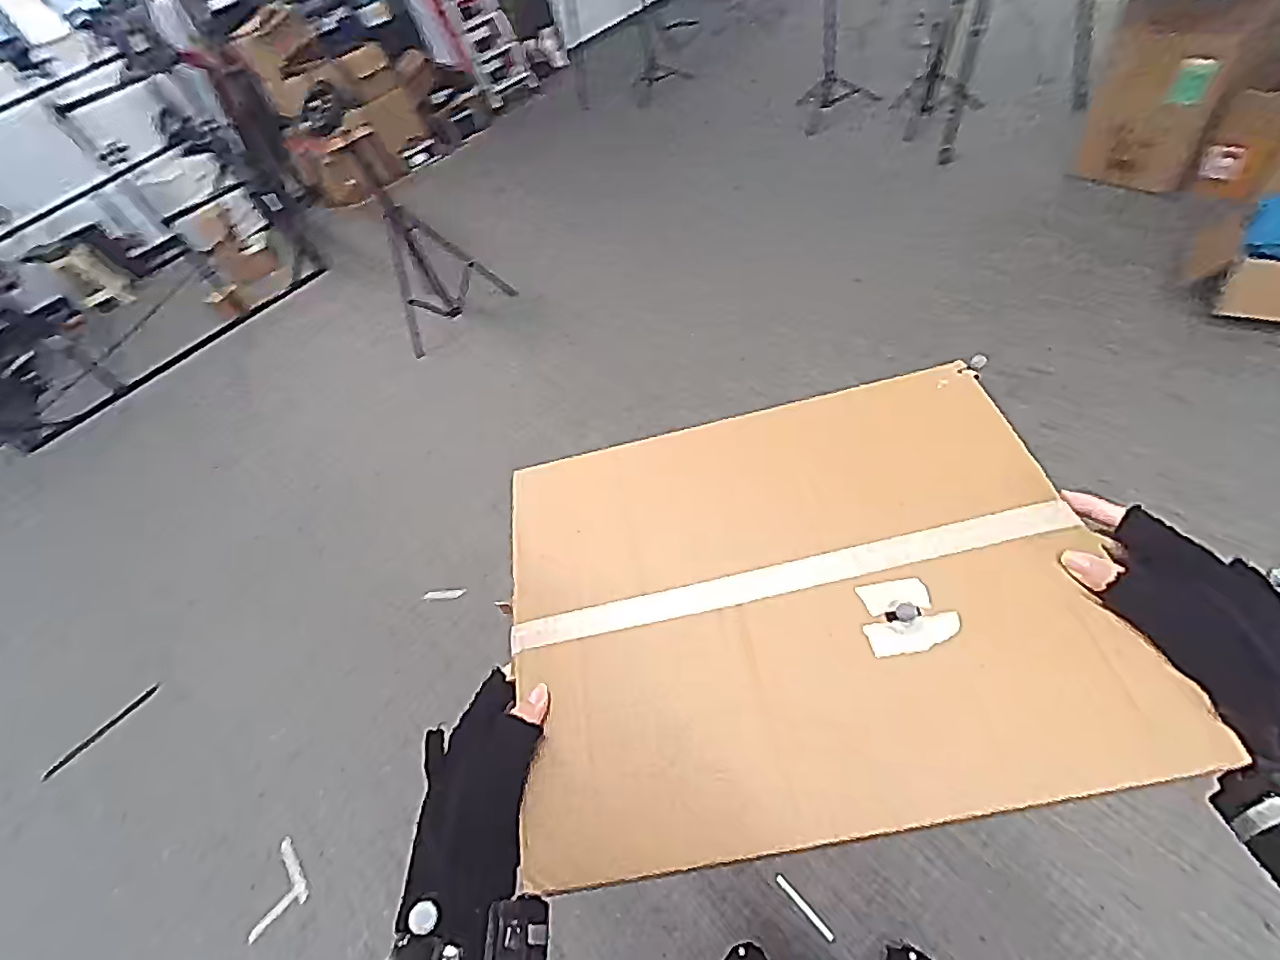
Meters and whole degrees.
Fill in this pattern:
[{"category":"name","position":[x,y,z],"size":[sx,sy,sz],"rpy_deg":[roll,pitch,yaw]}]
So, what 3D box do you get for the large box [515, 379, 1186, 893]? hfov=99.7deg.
[{"category":"large box","position":[0.127,0.162,0.527],"size":[0.408,0.320,0.320],"rpy_deg":[-14,55,3]}]
